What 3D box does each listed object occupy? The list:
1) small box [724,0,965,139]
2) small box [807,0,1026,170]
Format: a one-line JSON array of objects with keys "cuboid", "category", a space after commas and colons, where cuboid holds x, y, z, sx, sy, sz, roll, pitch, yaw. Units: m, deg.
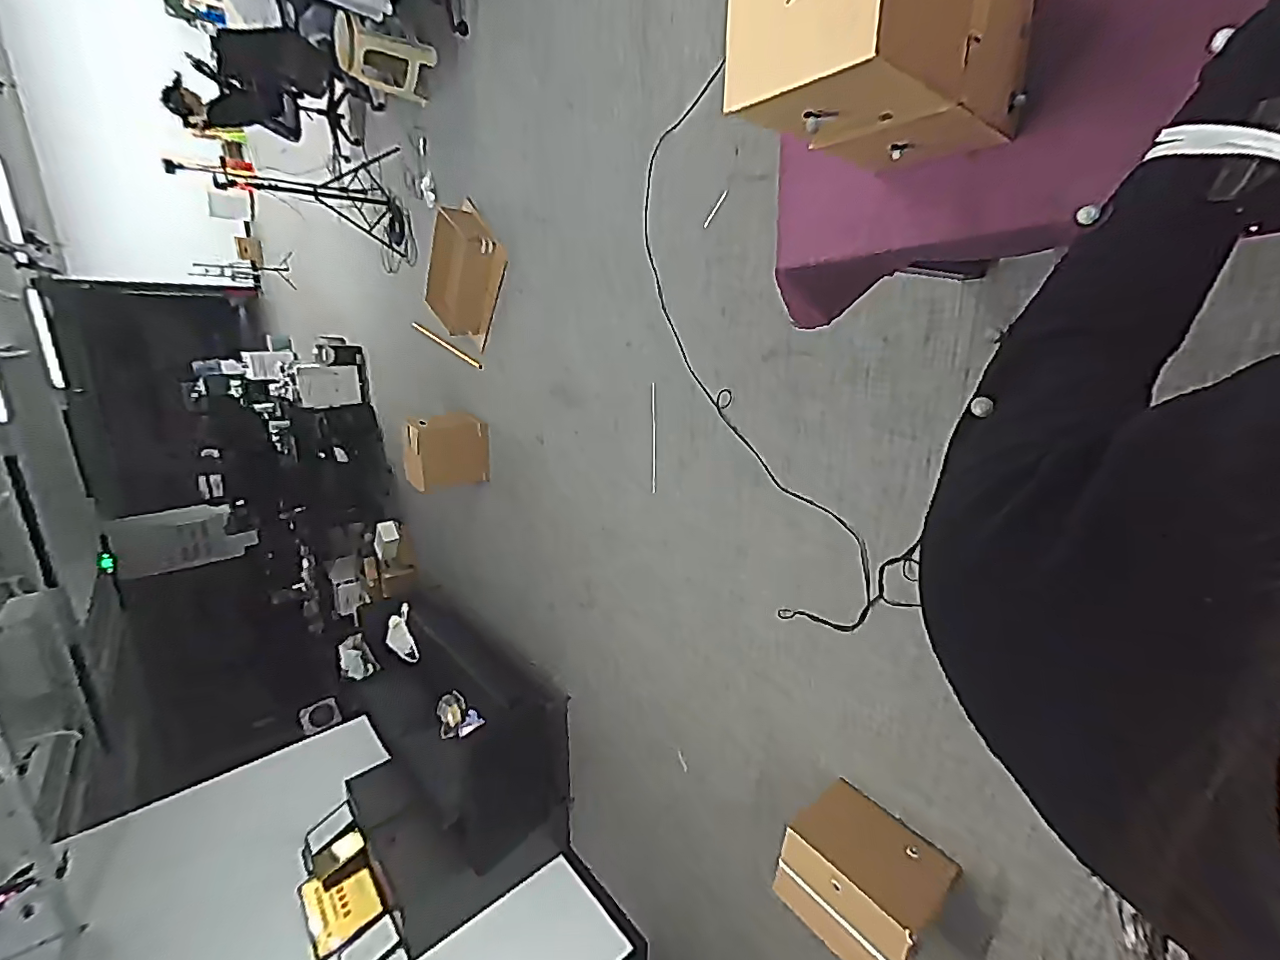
[{"cuboid": [0.203, -0.461, 0.533, 0.168, 0.176, 0.179, 17, 112, 47], "category": "small box"}, {"cuboid": [0.324, -0.487, 0.638, 0.179, 0.176, 0.168, 16, 112, 47], "category": "small box"}]
